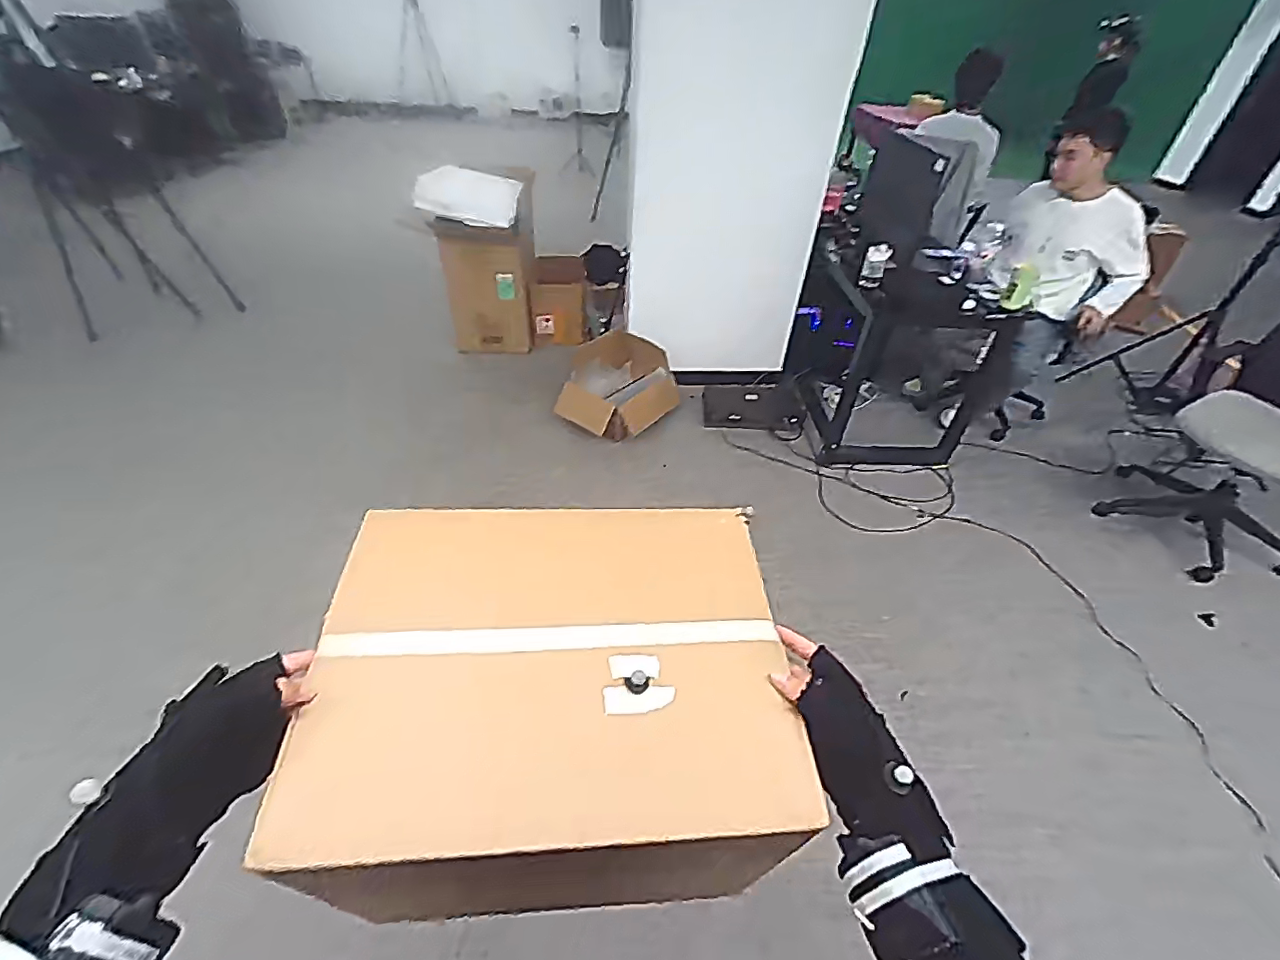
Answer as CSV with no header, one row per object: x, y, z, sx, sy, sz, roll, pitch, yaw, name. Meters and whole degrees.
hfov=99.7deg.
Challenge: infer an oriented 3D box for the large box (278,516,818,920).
-0.083,0.255,0.602,0.408,0.320,0.320,0,46,-7,large box
